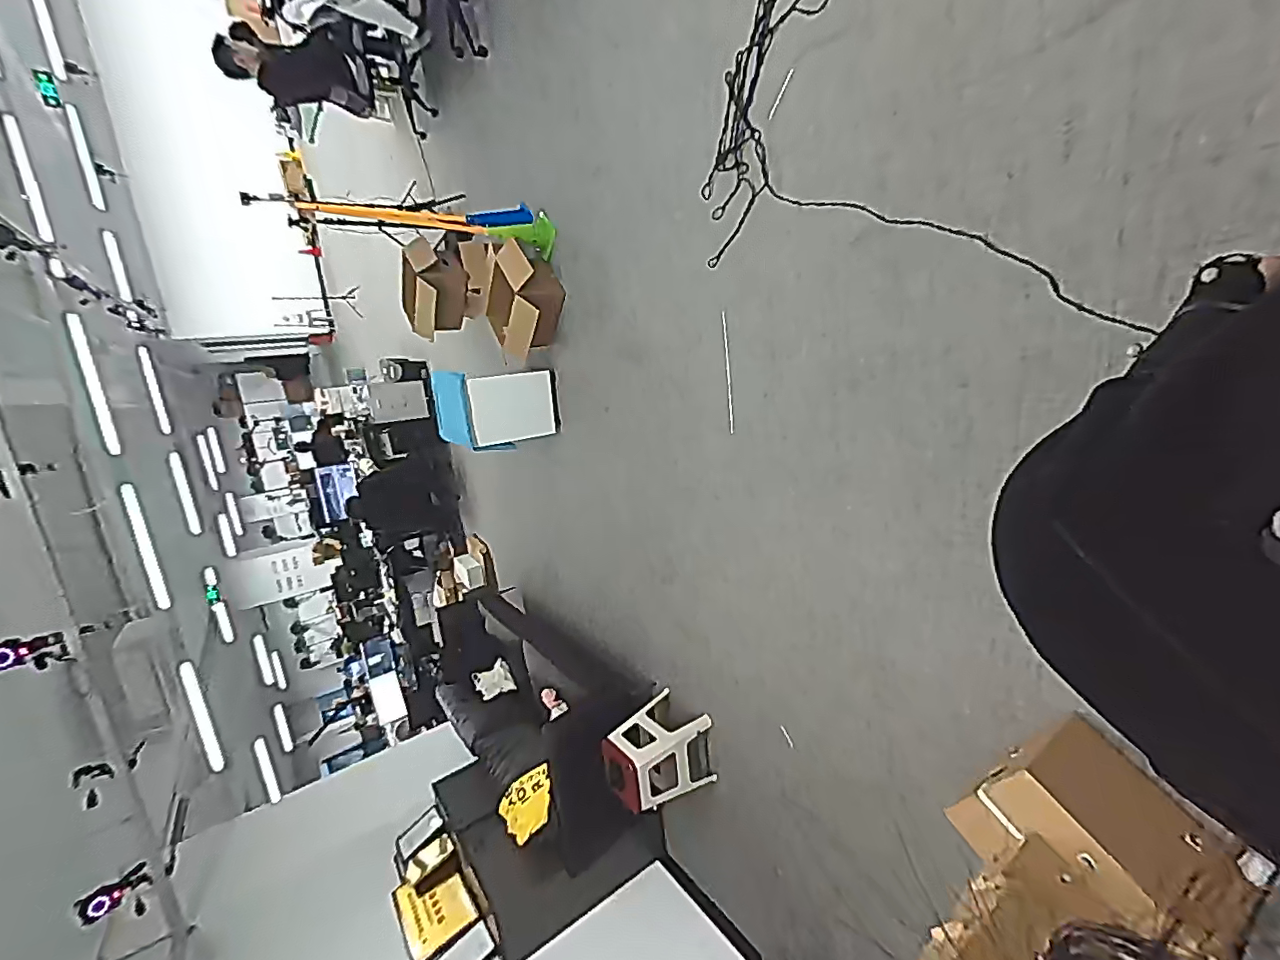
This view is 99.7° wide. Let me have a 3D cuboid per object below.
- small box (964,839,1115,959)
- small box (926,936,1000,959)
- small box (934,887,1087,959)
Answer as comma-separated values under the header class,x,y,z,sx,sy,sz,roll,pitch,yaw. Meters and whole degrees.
class,x,y,z,sx,sy,sz,roll,pitch,yaw
small box,0.866,0.925,1.178,0.179,0.176,0.168,48,139,36
small box,0.605,0.987,0.989,0.168,0.176,0.179,49,139,35
small box,0.740,0.953,1.073,0.179,0.176,0.168,50,139,32
